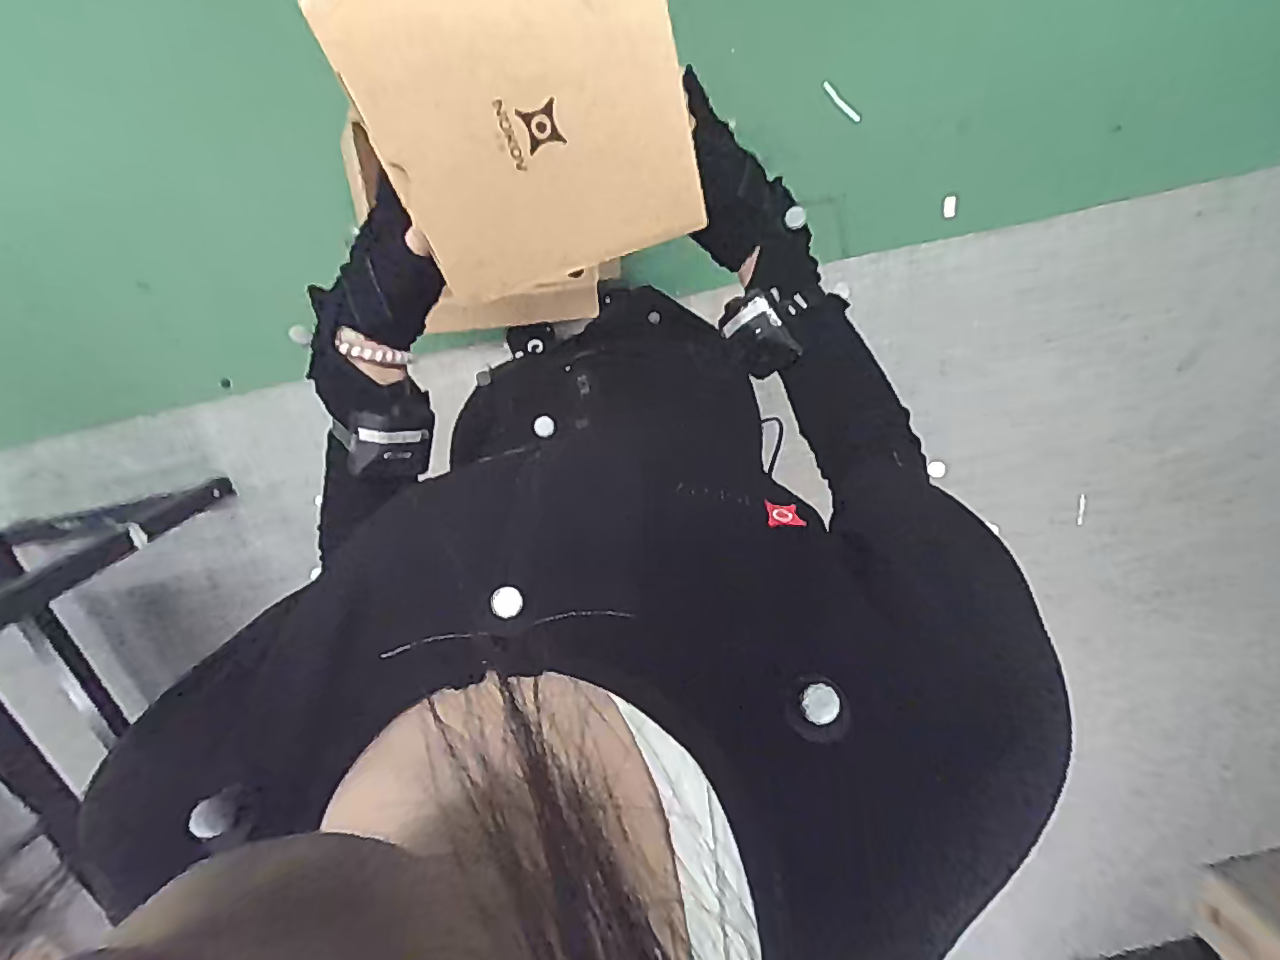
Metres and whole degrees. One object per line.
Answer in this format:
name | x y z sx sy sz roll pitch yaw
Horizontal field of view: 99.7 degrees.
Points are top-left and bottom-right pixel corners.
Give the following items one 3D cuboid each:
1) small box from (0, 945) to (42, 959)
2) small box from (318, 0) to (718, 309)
small box | -1.115 0.905 0.879 0.179 0.176 0.168 -11 110 0
small box | -0.064 -0.247 0.361 0.179 0.176 0.168 -17 131 5
